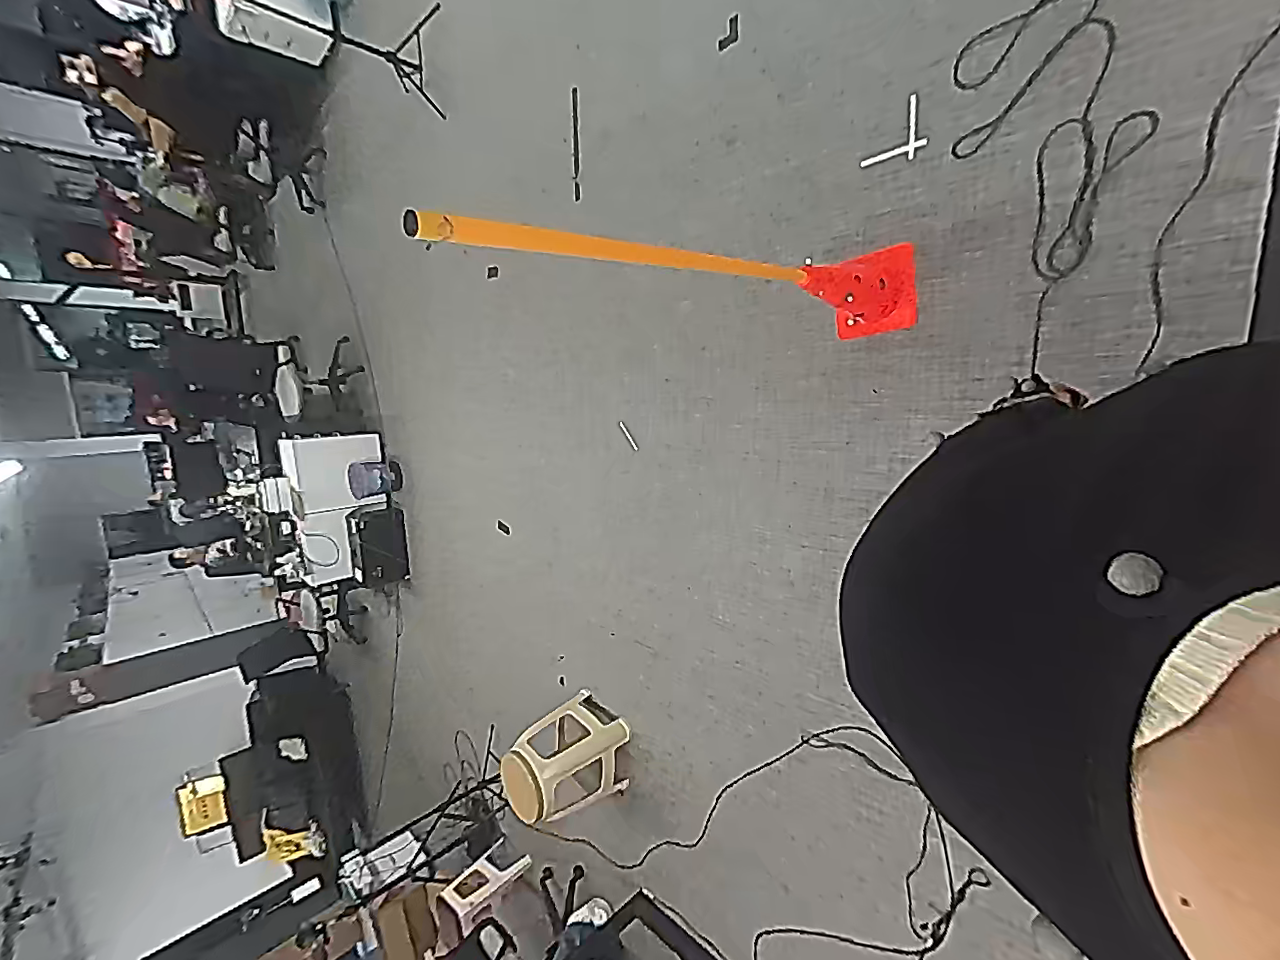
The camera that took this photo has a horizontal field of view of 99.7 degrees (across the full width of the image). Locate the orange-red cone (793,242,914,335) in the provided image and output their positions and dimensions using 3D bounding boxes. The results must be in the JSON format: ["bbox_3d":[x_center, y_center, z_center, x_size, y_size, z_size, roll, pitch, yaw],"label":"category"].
[{"bbox_3d":[0.456,-0.447,1.227,0.199,0.360,0.198,0,99,46],"label":"orange-red cone"}]
